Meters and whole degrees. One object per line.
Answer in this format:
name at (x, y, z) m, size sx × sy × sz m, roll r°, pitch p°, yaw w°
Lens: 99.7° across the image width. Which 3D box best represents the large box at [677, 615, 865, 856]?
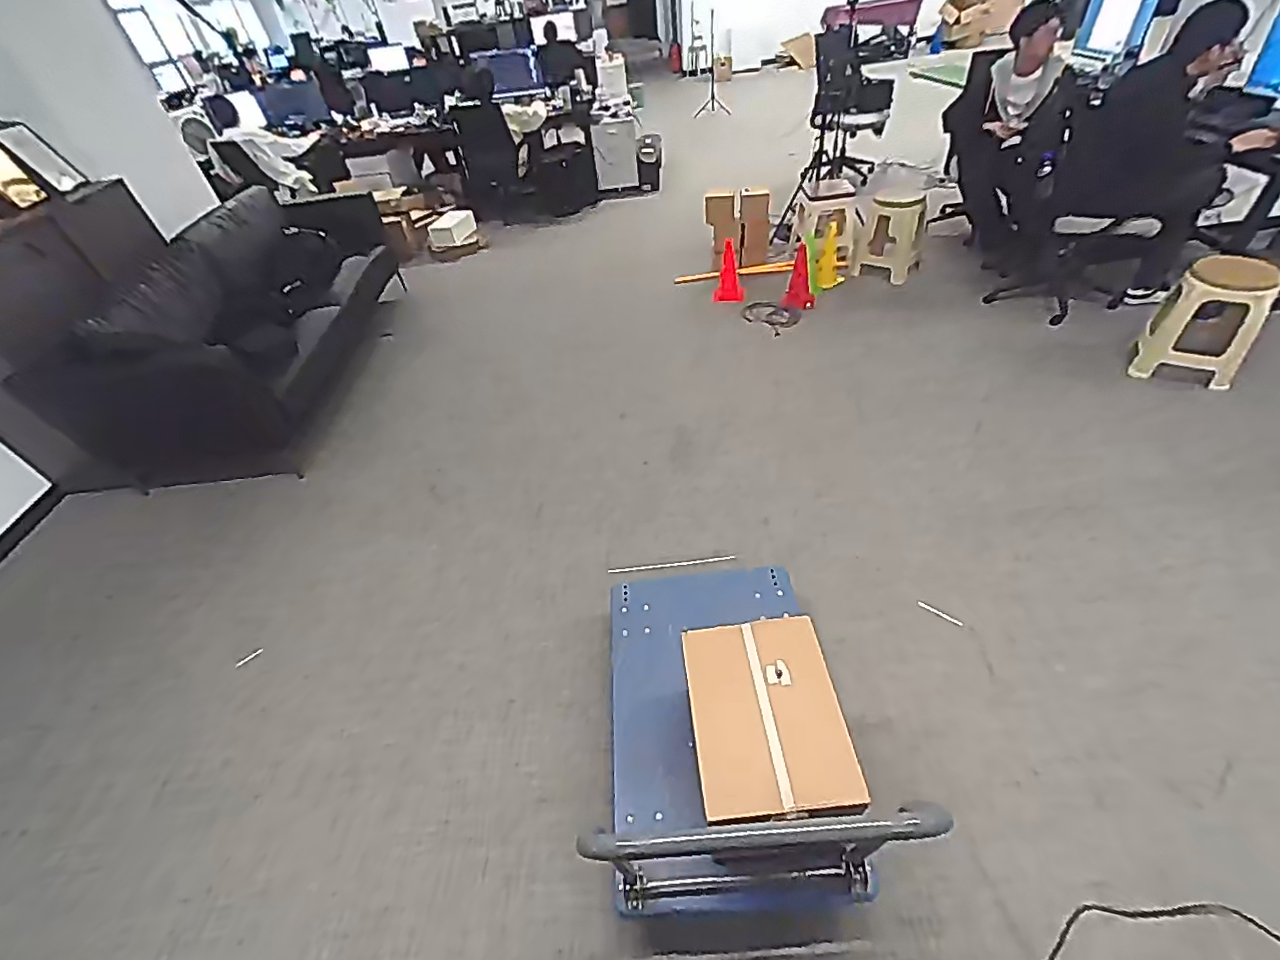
large box at (0.274, 0.587, 1.256) m, size 0.320 × 0.320 × 0.408 m, roll -7°, pitch 44°, yaw 1°
